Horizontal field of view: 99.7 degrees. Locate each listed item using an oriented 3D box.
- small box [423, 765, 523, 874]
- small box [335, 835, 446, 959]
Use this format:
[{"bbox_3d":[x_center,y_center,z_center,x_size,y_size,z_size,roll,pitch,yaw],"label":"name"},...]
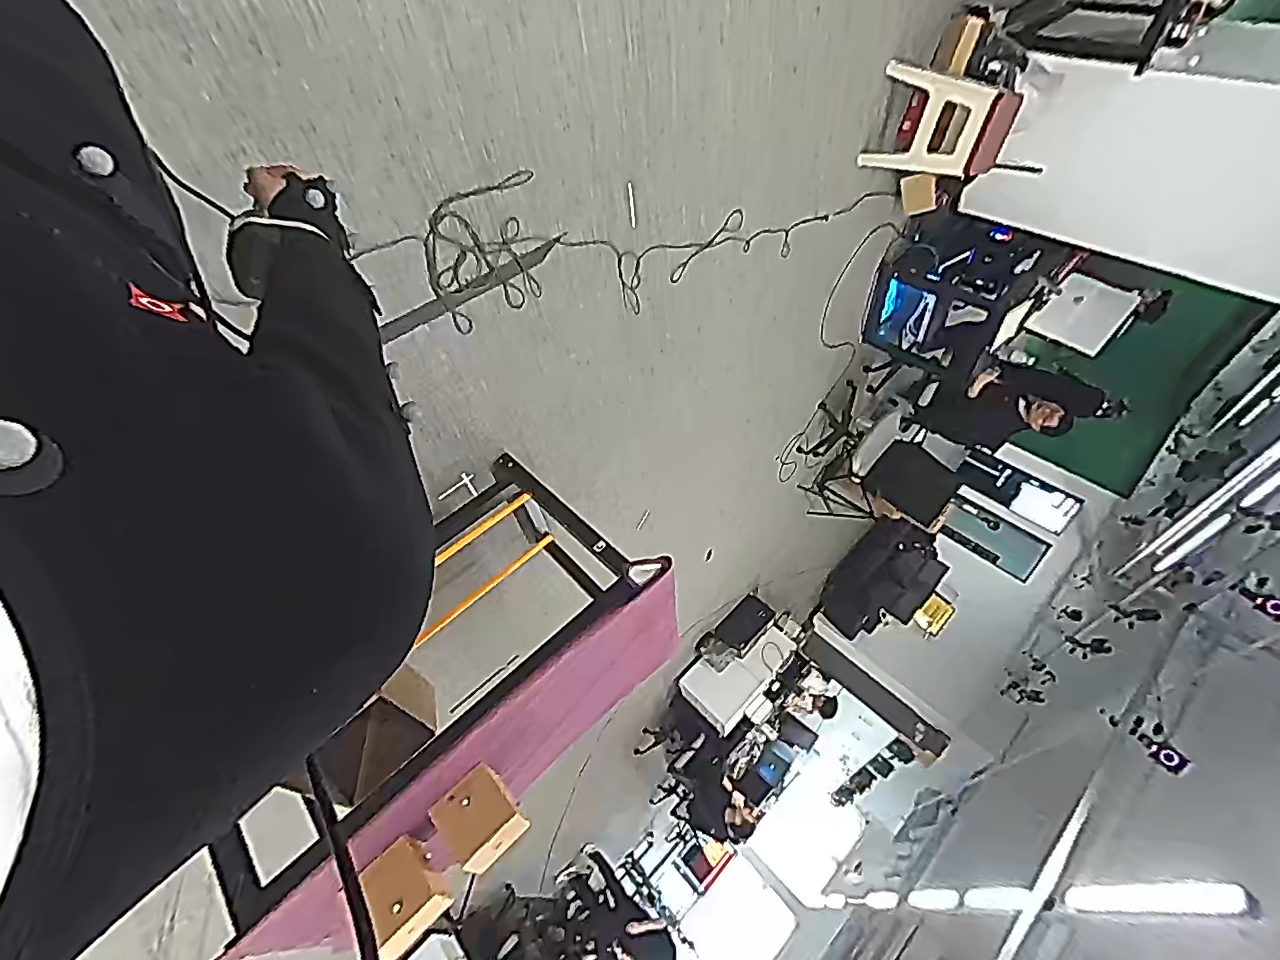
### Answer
[{"bbox_3d":[-0.435,0.886,1.418,0.168,0.176,0.179,-38,147,-25],"label":"small box"},{"bbox_3d":[-0.611,1.017,1.319,0.179,0.176,0.168,-36,148,-27],"label":"small box"}]
